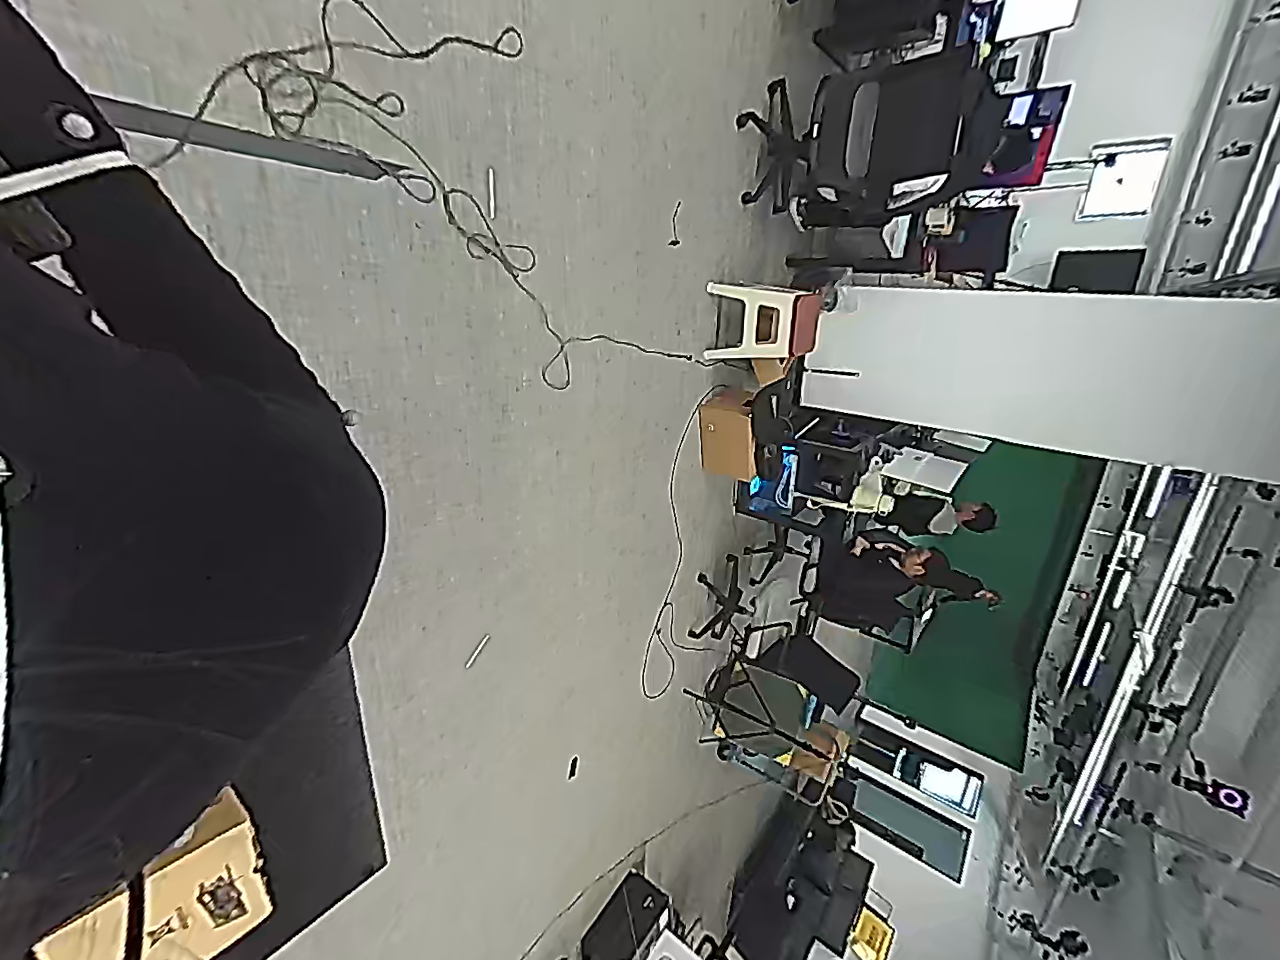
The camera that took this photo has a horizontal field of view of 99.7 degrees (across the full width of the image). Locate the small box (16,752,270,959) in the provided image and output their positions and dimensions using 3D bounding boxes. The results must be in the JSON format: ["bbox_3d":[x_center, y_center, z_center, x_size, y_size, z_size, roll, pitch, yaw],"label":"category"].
[{"bbox_3d":[-0.582,0.469,0.643,0.179,0.176,0.168,-20,119,-49],"label":"small box"}]
